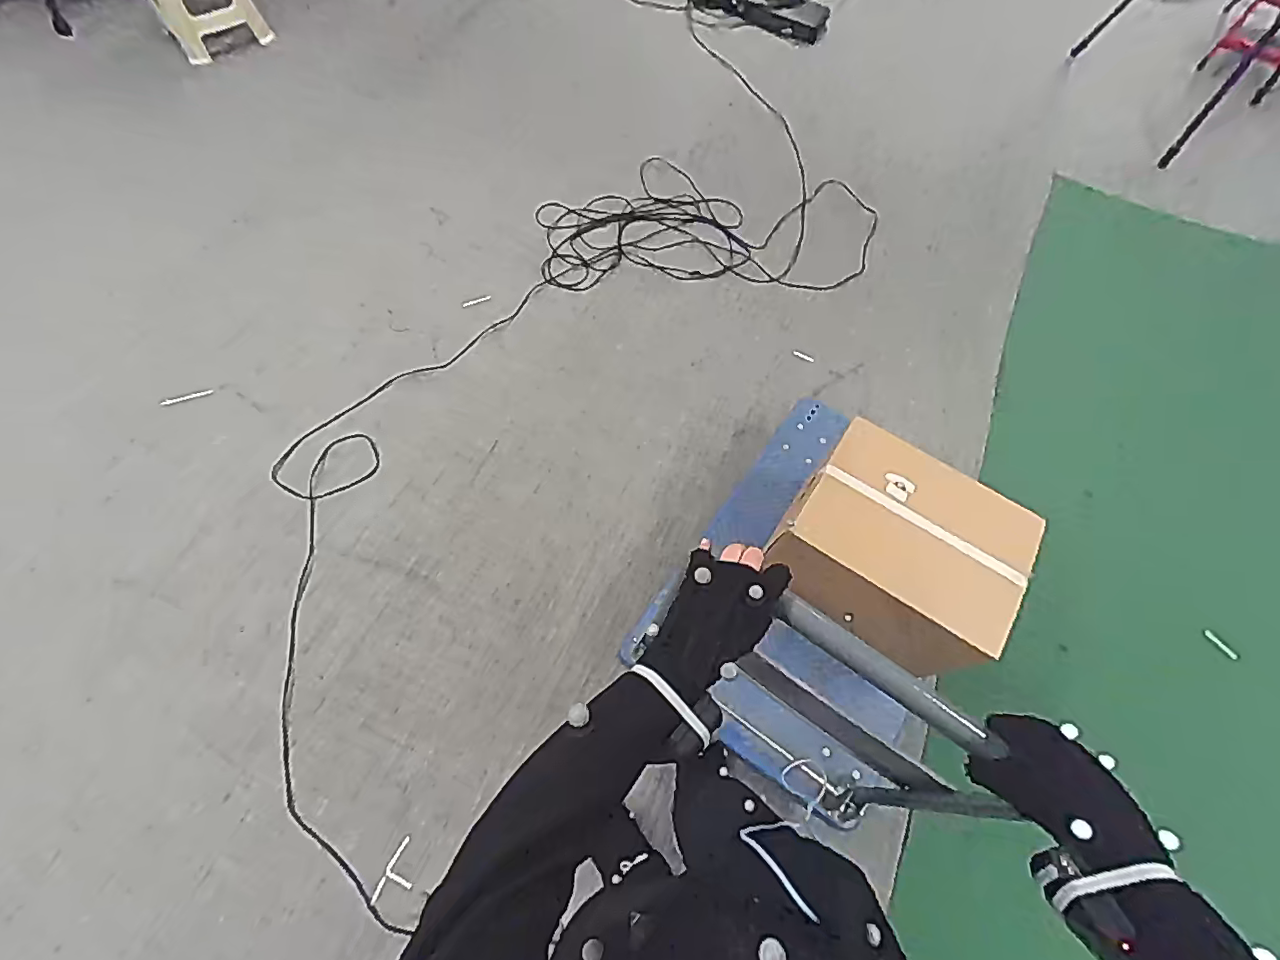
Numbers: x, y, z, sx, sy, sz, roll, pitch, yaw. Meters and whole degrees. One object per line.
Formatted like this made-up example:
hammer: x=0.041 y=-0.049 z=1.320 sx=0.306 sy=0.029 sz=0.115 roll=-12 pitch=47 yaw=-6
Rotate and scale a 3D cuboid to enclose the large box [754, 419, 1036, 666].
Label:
large box: x=0.516 y=0.145 z=1.159 sx=0.408 sy=0.320 sz=0.320 roll=31 pitch=67 yaw=12
